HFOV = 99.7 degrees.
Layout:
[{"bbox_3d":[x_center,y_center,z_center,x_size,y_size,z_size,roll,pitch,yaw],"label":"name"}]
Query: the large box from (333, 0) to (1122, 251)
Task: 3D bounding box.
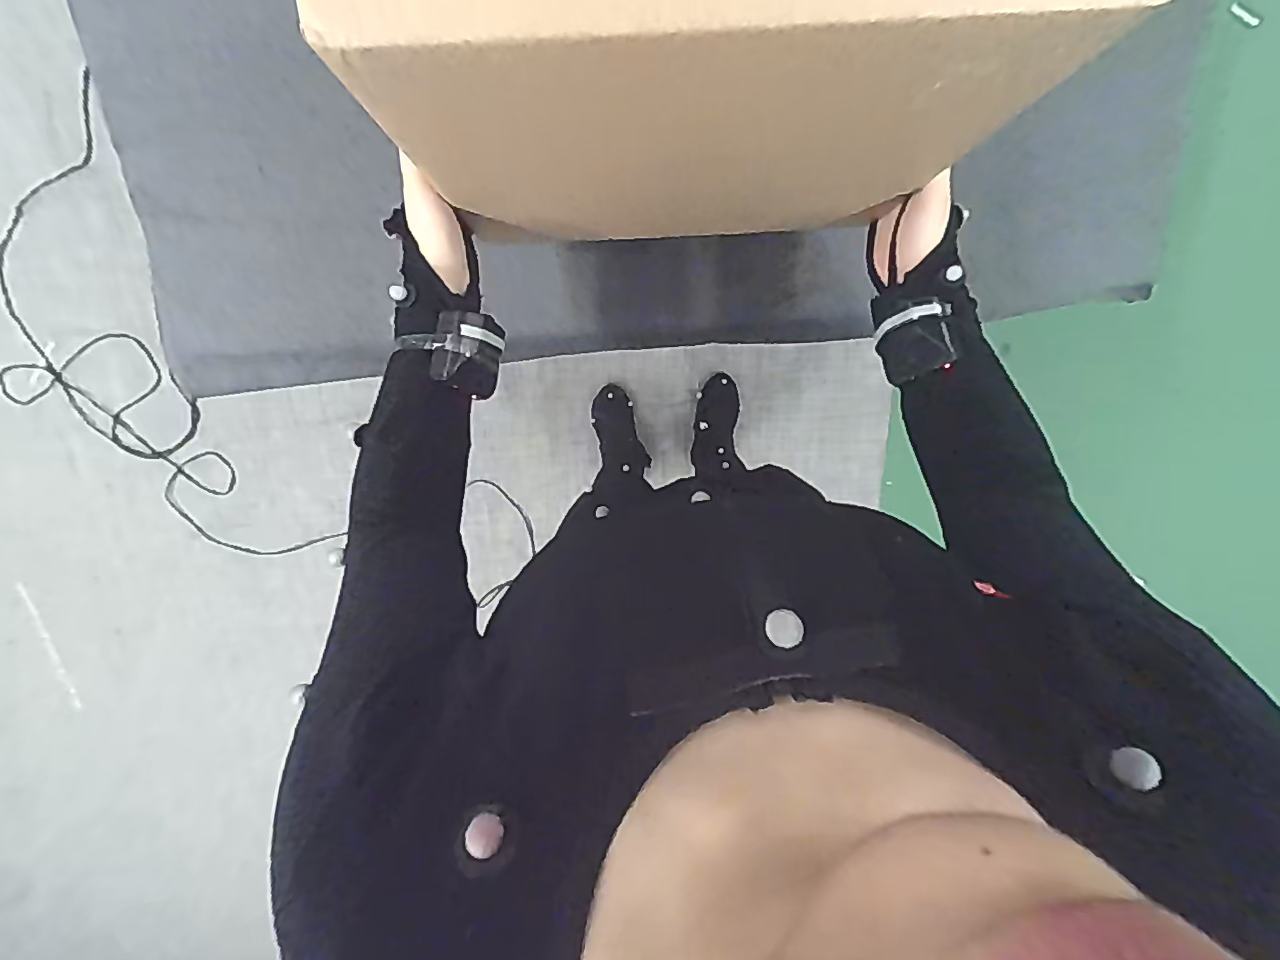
[{"bbox_3d":[0.031,-0.385,0.400,0.408,0.320,0.320,-4,98,-2],"label":"large box"}]
